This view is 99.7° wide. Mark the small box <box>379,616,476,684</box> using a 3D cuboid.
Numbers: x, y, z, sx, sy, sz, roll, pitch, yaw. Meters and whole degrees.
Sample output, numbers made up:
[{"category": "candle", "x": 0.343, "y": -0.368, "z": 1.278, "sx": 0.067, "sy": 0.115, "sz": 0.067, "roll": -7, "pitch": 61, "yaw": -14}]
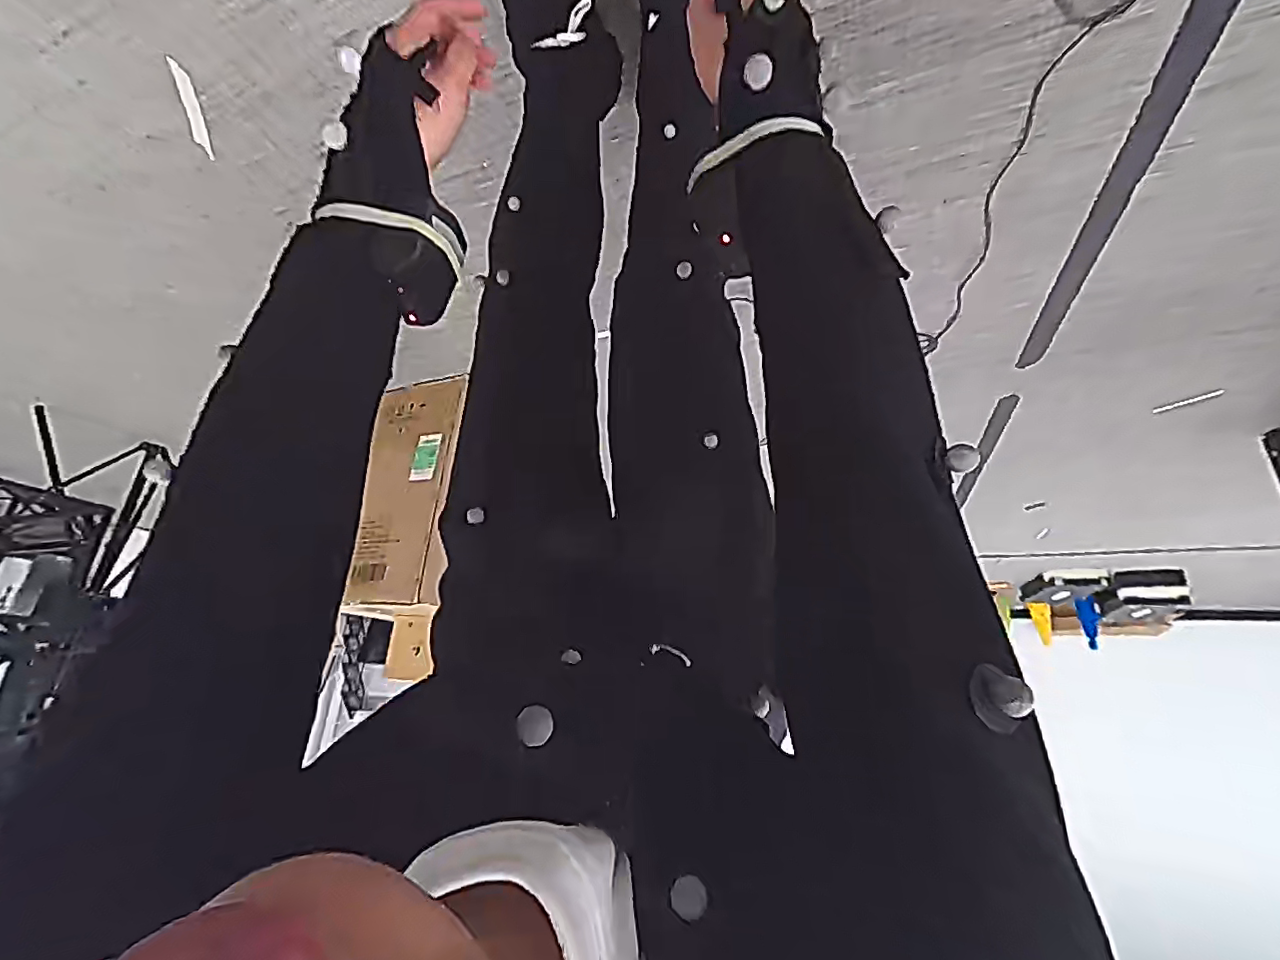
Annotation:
[{"category": "small box", "x": -0.579, "y": 0.468, "z": 1.491, "sx": 0.168, "sy": 0.176, "sz": 0.179, "roll": -6, "pitch": 158, "yaw": 22}]
